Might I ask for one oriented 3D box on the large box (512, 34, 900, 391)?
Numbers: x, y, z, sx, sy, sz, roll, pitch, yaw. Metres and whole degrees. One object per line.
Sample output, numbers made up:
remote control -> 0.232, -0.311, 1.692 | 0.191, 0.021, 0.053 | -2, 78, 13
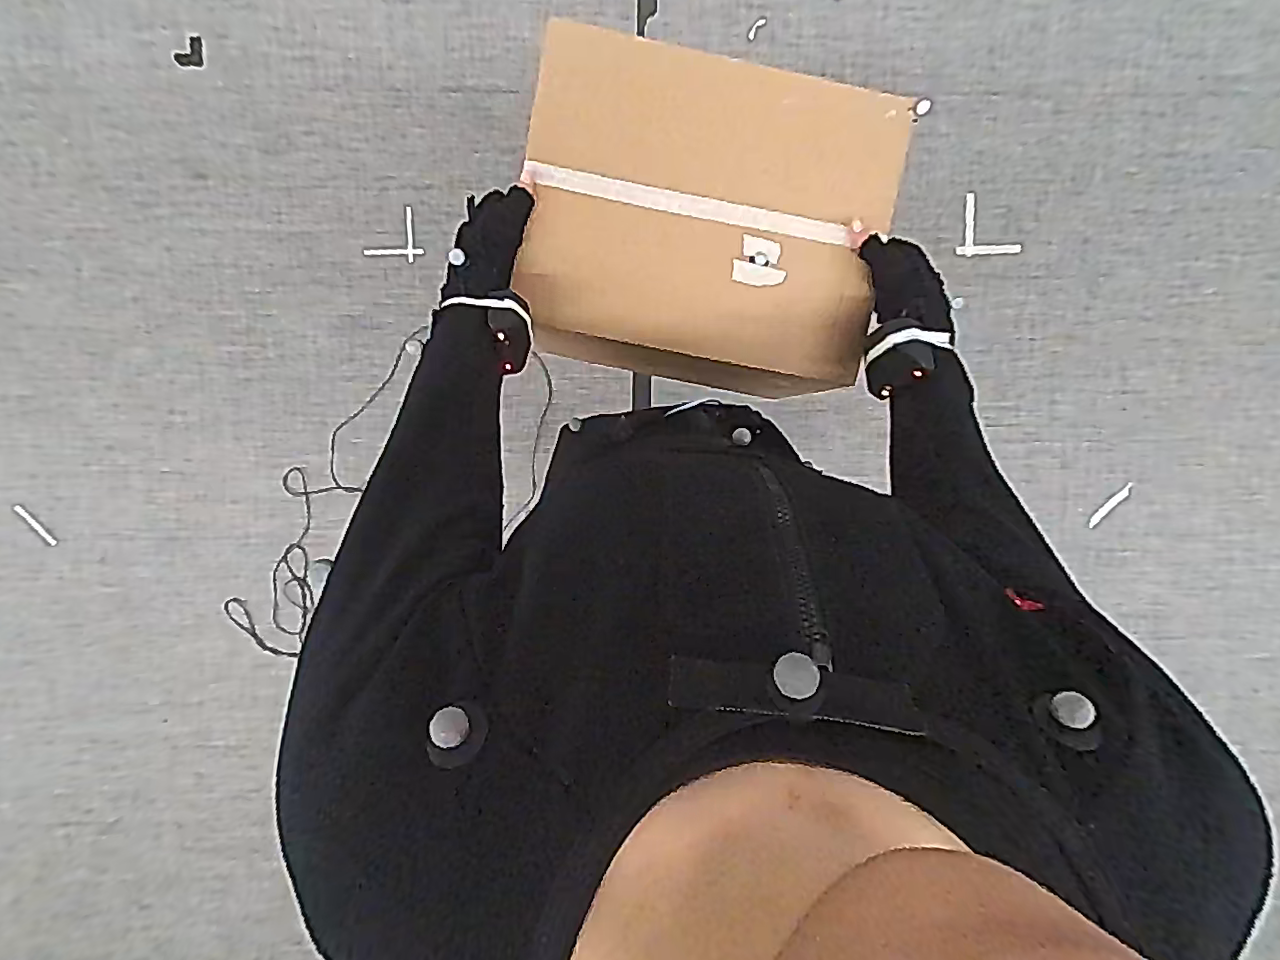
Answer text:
large box -> 0.065, -0.317, 0.757 | 0.408, 0.320, 0.320 | 11, 97, -4
